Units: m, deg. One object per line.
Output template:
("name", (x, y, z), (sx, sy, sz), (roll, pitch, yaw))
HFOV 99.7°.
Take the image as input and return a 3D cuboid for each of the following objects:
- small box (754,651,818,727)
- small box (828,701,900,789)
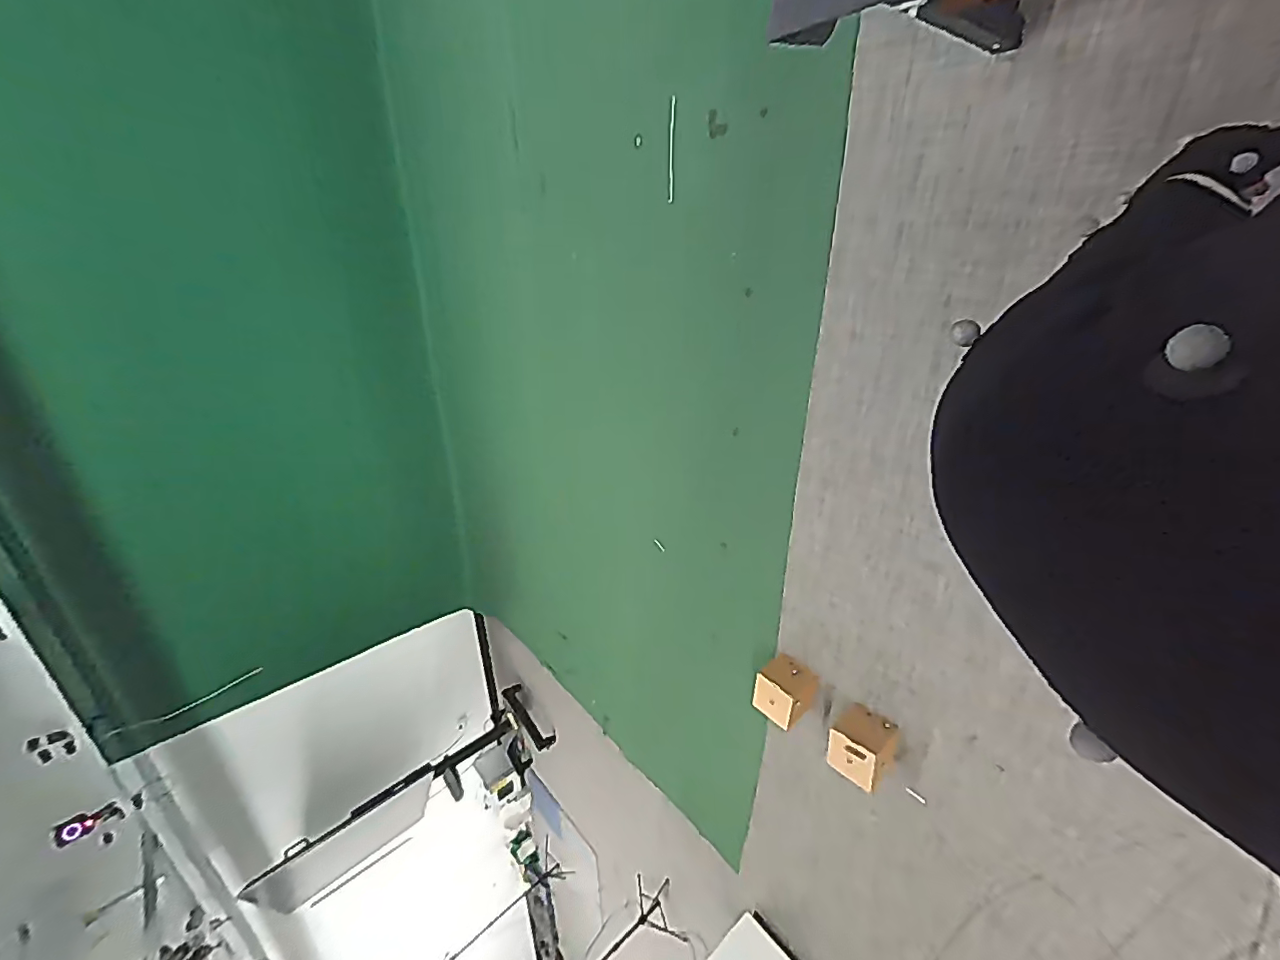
("small box", (0.564, 0.802, 2.089), (0.168, 0.176, 0.179), (27, 126, 42))
("small box", (0.776, 0.907, 1.868), (0.168, 0.176, 0.179), (21, 123, 46))
